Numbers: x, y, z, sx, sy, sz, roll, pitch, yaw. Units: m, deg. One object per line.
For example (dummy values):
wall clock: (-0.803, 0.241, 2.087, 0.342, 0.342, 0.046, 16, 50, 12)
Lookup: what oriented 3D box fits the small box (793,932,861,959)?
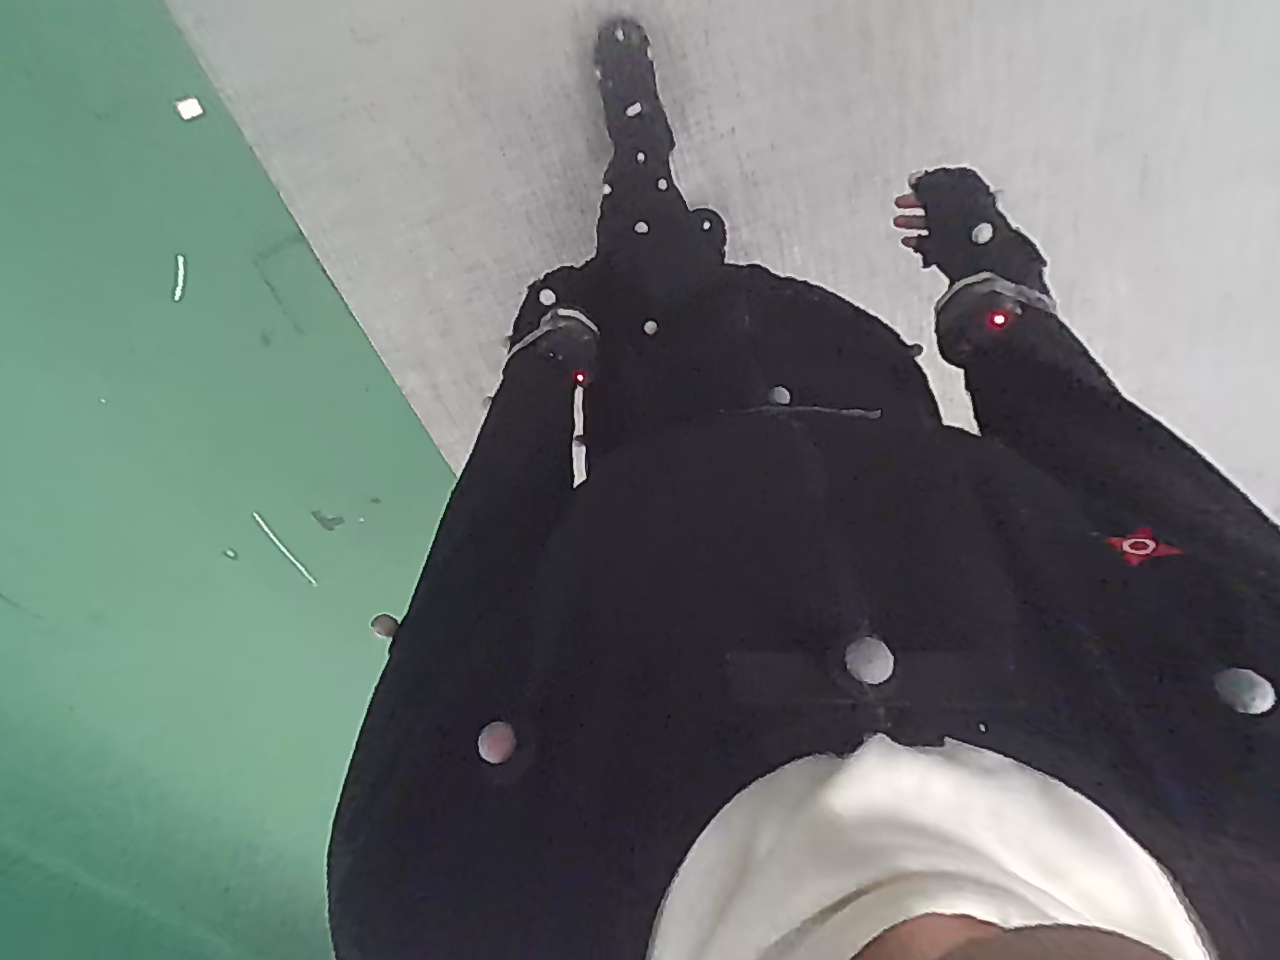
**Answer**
small box: (0.541, 1.408, 1.519, 0.179, 0.176, 0.168, -19, 122, 11)
